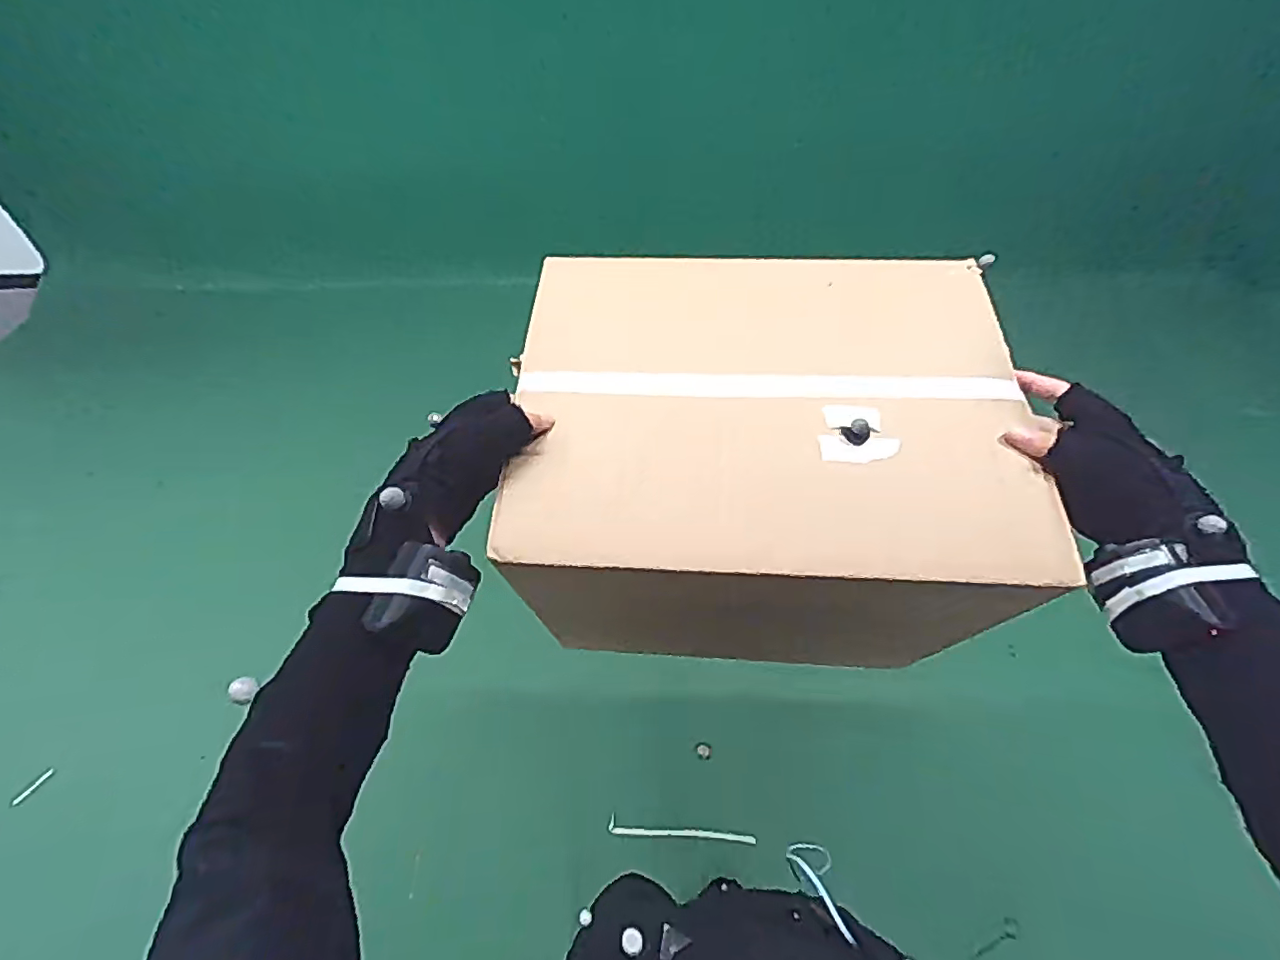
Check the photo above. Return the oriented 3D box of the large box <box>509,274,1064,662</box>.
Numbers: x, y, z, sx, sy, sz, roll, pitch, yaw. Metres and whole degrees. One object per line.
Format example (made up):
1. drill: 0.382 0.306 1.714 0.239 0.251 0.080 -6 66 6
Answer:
1. large box: 0.109 0.004 0.586 0.408 0.320 0.320 2 61 3
